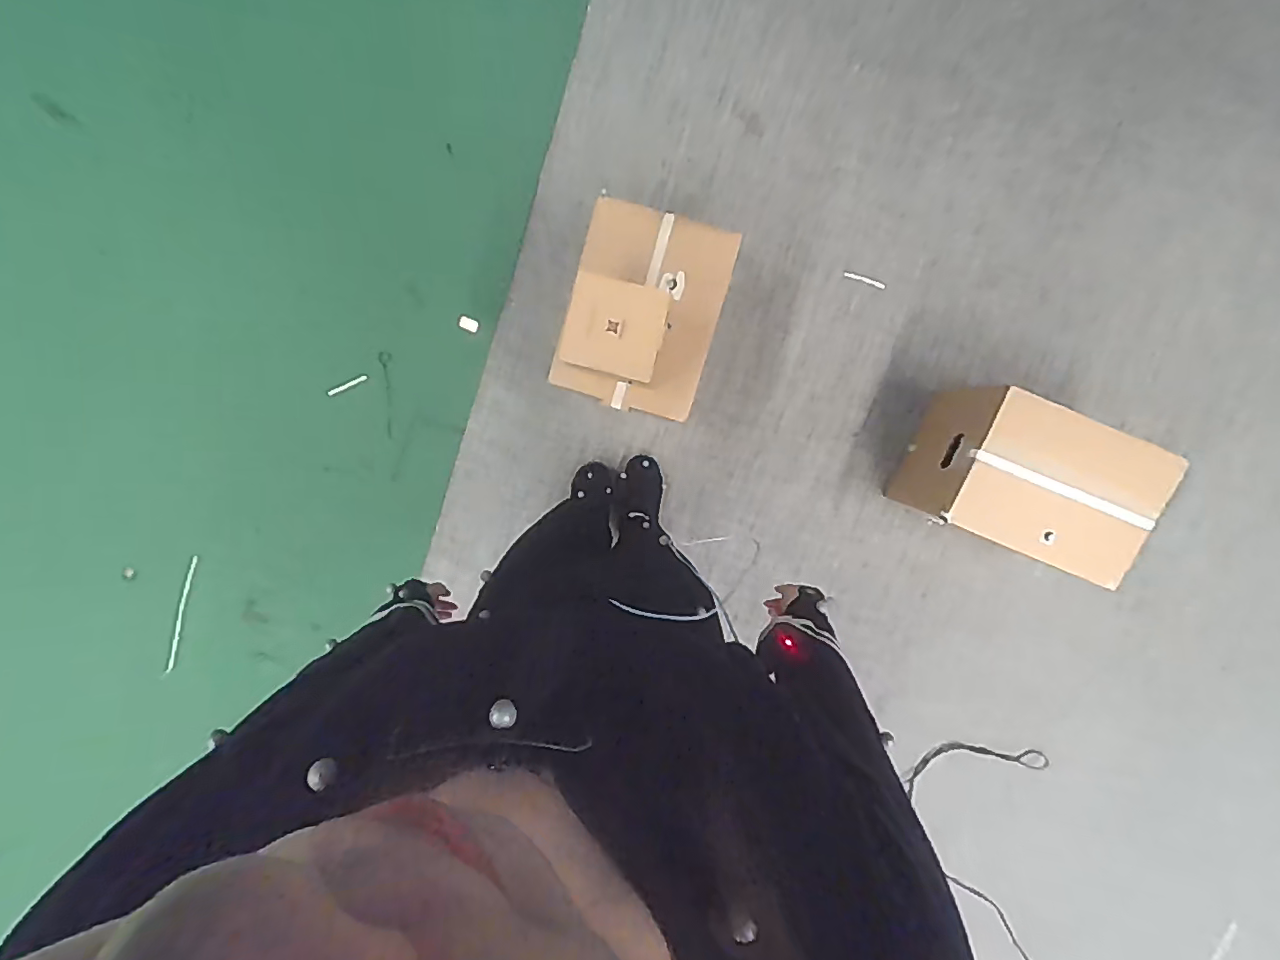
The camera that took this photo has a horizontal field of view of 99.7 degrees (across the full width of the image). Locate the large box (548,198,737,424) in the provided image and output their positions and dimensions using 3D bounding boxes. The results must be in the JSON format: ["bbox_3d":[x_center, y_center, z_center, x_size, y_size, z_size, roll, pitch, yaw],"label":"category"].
[{"bbox_3d":[0.009,-0.364,1.279,0.320,0.320,0.408,17,96,0],"label":"large box"}]

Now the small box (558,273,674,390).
[{"bbox_3d":[-0.039,-0.276,1.044,0.179,0.176,0.168,16,96,2],"label":"small box"}]
